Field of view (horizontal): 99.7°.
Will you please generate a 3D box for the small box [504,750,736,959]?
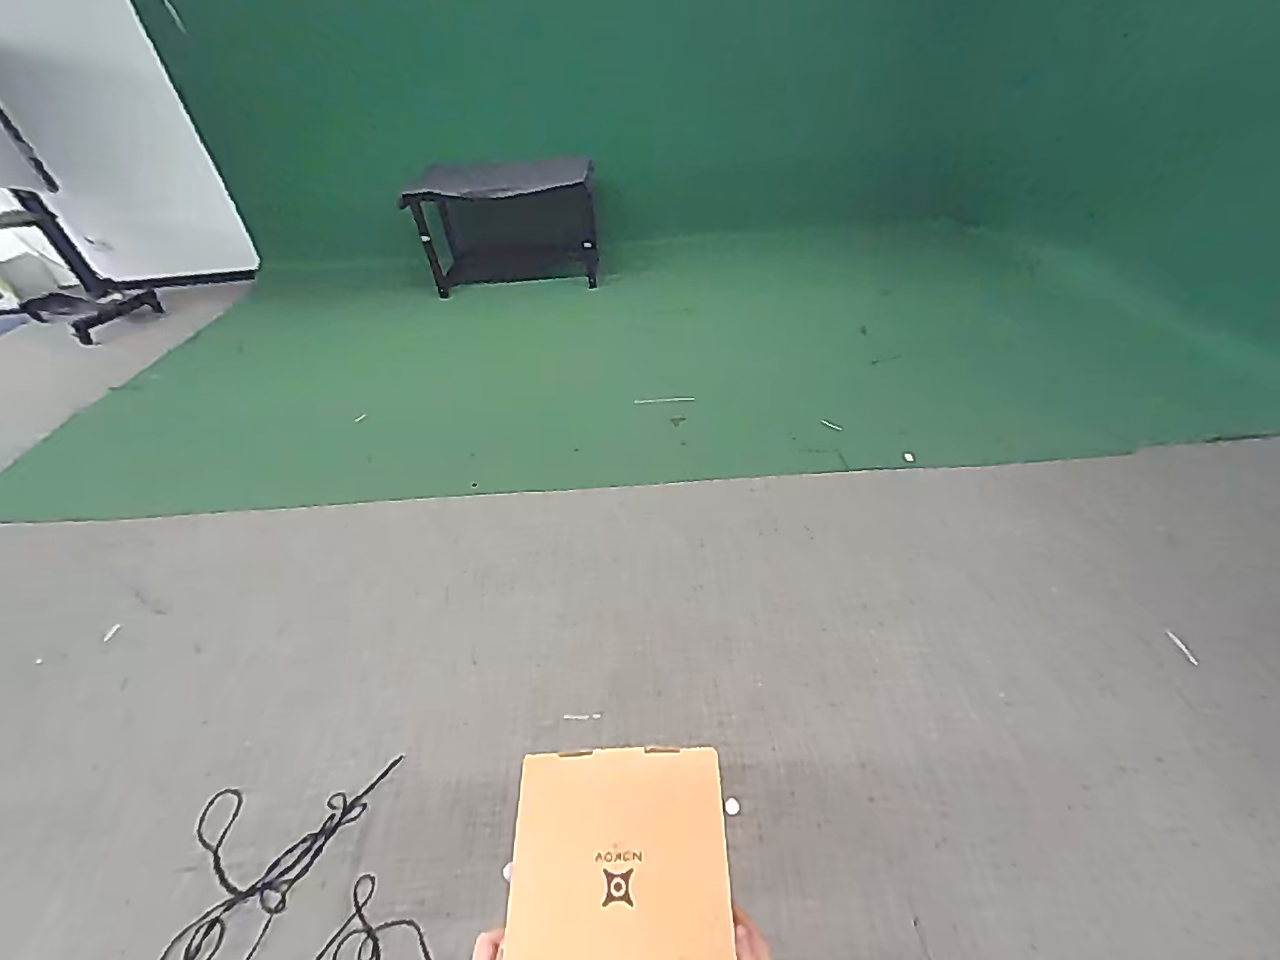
[{"bbox_3d":[-0.007,0.346,0.461,0.168,0.176,0.179,-4,51,3],"label":"small box"}]
